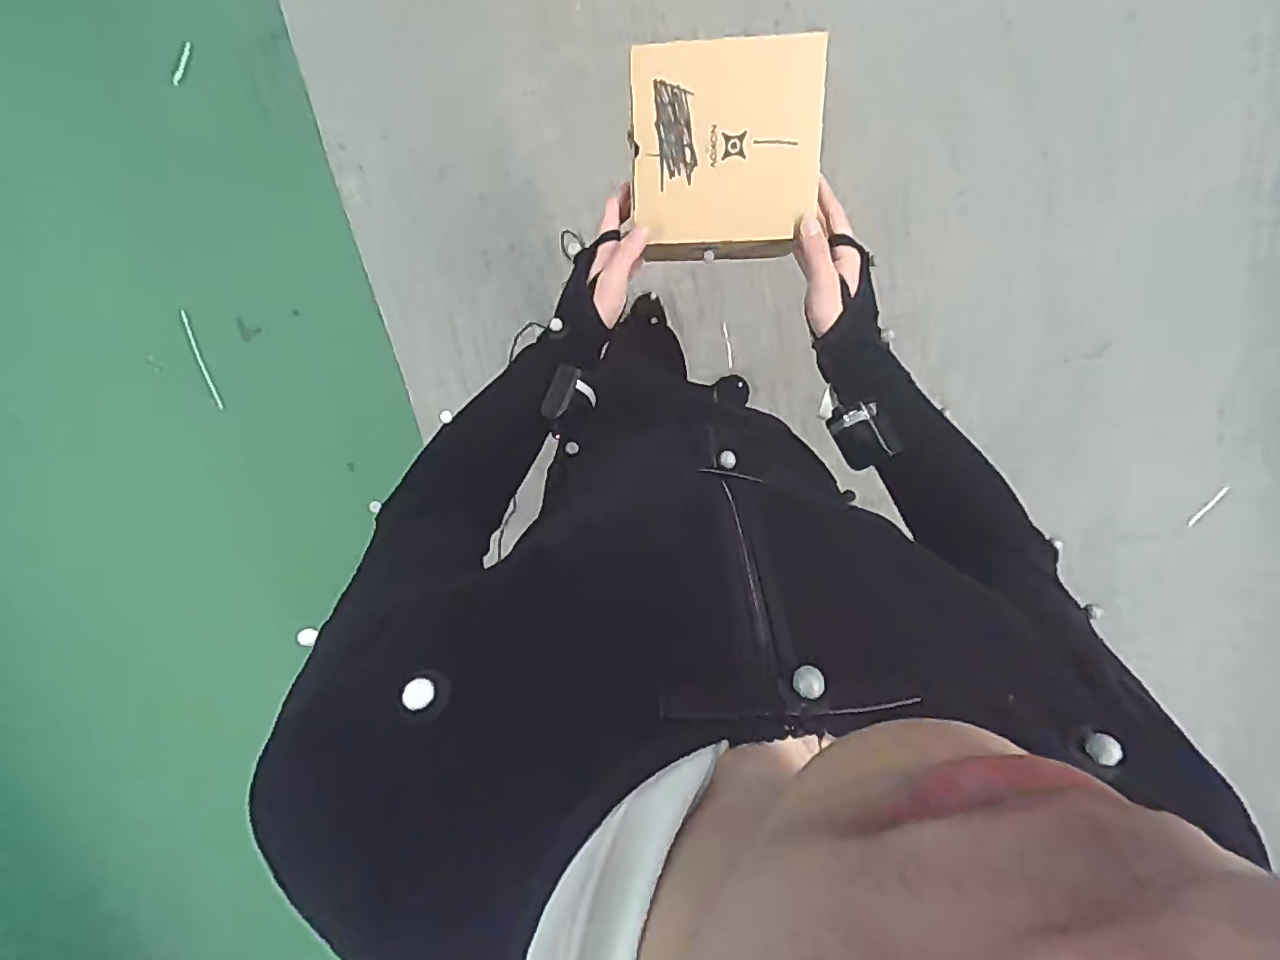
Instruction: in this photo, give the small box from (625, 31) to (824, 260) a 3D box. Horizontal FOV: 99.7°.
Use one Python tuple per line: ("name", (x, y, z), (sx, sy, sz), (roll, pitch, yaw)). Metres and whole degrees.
("small box", (0.081, -0.331, 0.572), (0.179, 0.176, 0.168), (-1, 106, 4))
